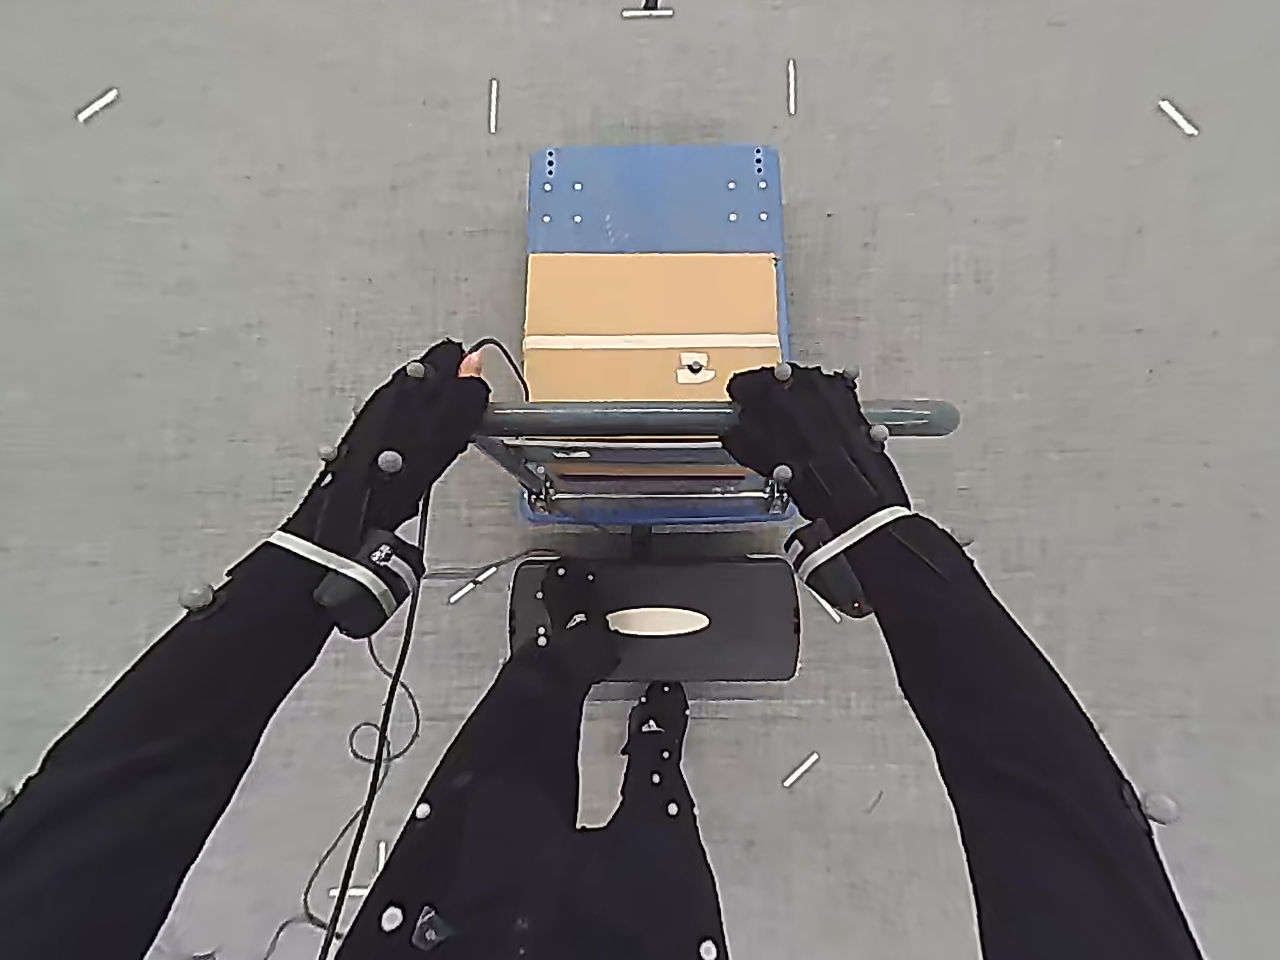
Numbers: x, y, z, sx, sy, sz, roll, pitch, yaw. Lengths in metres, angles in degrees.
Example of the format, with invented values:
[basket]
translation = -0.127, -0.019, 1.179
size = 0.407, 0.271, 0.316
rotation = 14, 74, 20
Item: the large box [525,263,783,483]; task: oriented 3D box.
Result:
[large box]
translation = 0.017, -0.175, 0.998
size = 0.408, 0.320, 0.320
rotation = 0, 80, 0
